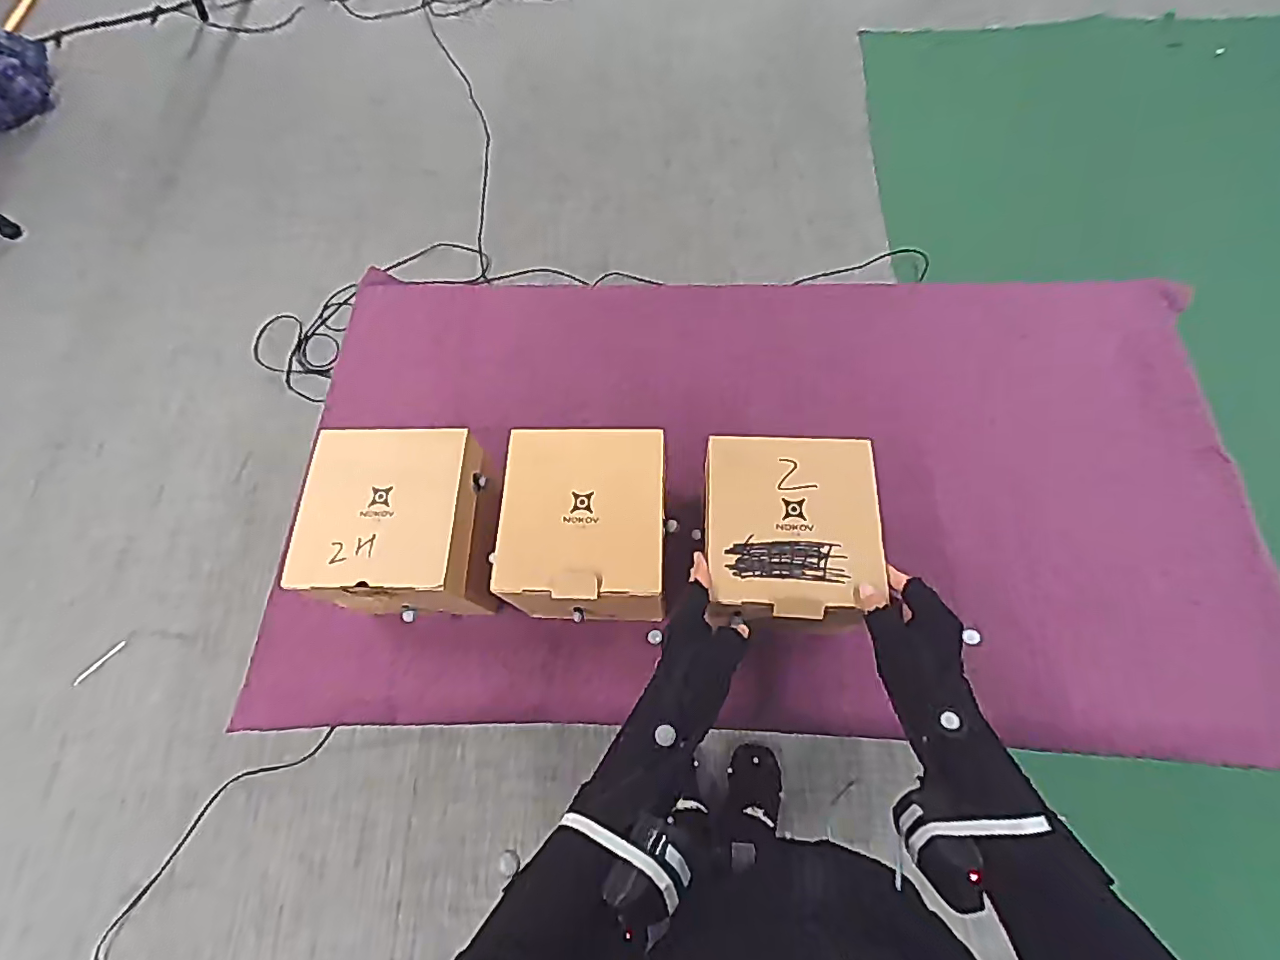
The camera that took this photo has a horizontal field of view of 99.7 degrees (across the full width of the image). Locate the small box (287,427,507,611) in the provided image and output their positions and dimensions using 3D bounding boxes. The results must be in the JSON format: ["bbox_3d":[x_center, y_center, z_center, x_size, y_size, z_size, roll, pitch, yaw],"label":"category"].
[{"bbox_3d":[-0.263,0.052,0.635,0.168,0.176,0.179,0,69,4],"label":"small box"}]
